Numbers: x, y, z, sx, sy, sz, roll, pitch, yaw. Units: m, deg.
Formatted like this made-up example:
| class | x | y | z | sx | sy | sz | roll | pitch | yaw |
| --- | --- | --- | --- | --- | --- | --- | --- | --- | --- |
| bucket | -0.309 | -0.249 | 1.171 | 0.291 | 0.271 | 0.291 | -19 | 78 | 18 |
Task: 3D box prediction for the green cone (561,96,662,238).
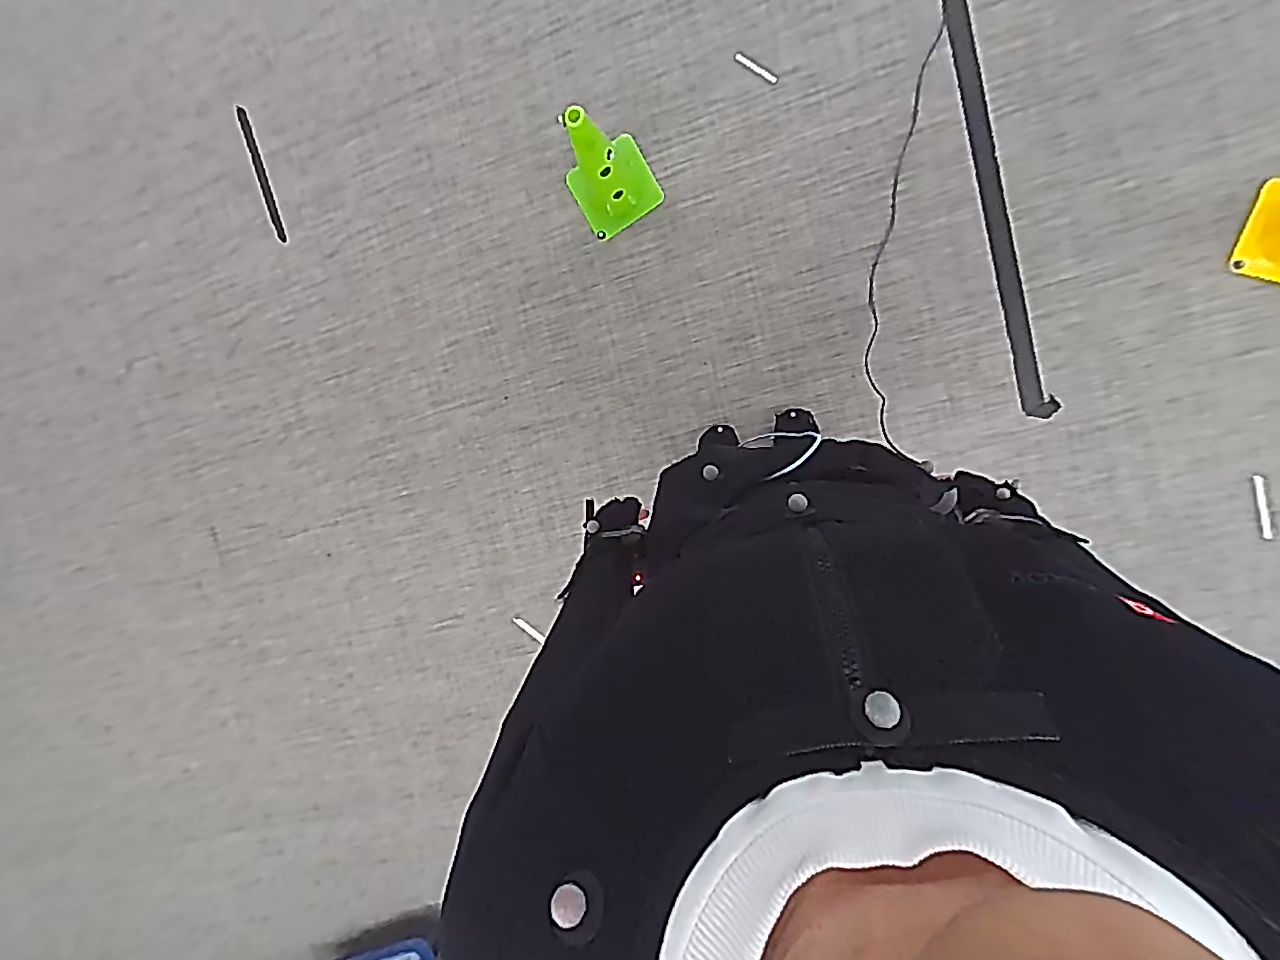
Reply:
| class | x | y | z | sx | sy | sz | roll | pitch | yaw |
| --- | --- | --- | --- | --- | --- | --- | --- | --- | --- |
| green cone | -0.096 | -0.735 | 1.218 | 0.200 | 0.368 | 0.202 | -30 | 90 | 11 |
